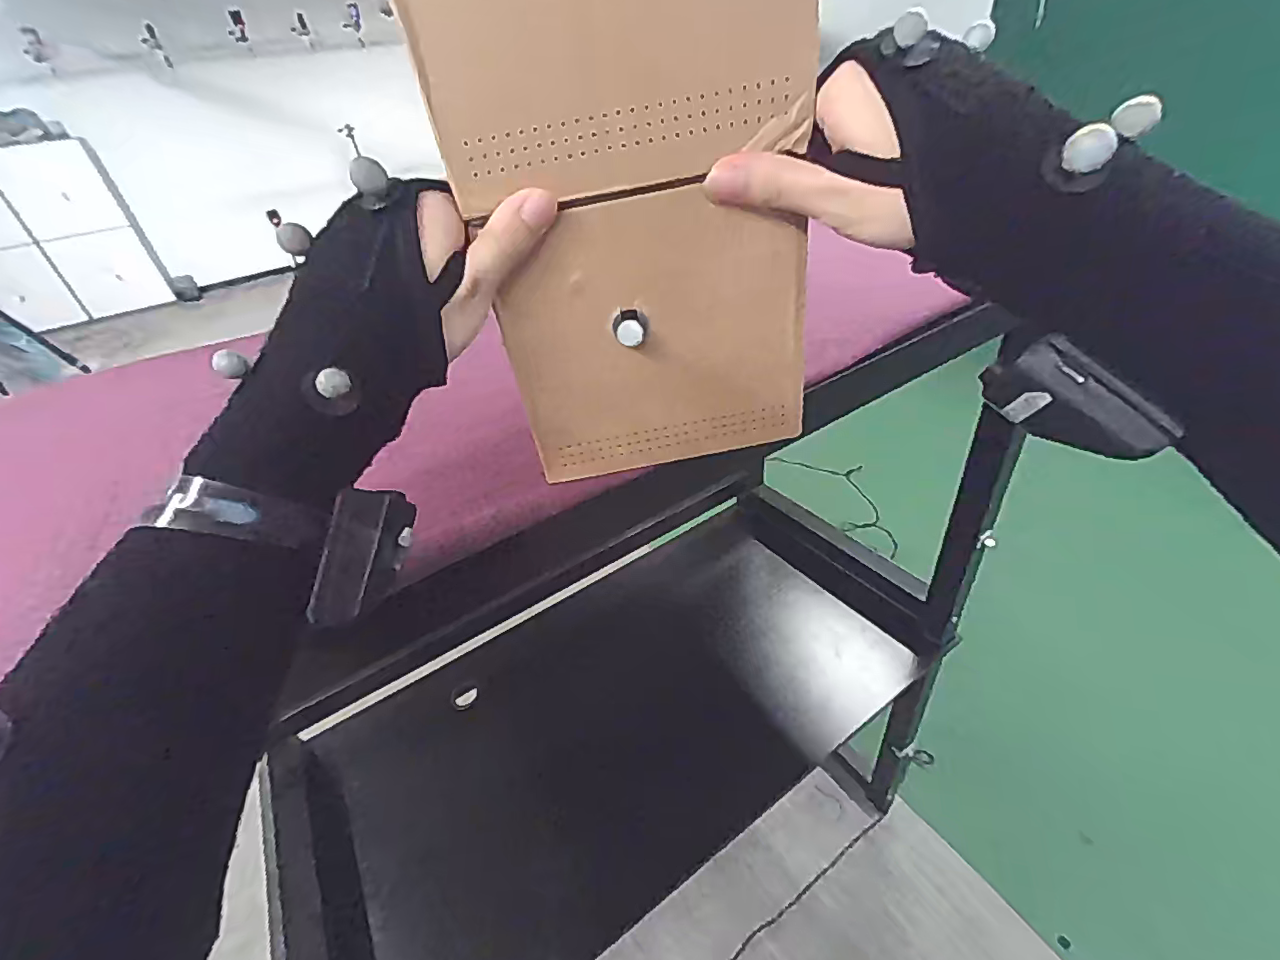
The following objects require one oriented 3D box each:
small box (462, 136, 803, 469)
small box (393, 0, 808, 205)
[{"bbox_3d":[0.004,-0.127,0.374,0.179,0.176,0.168,-12,37,2],"label":"small box"},{"bbox_3d":[-0.022,-0.253,0.270,0.179,0.176,0.168,-10,38,3],"label":"small box"}]
